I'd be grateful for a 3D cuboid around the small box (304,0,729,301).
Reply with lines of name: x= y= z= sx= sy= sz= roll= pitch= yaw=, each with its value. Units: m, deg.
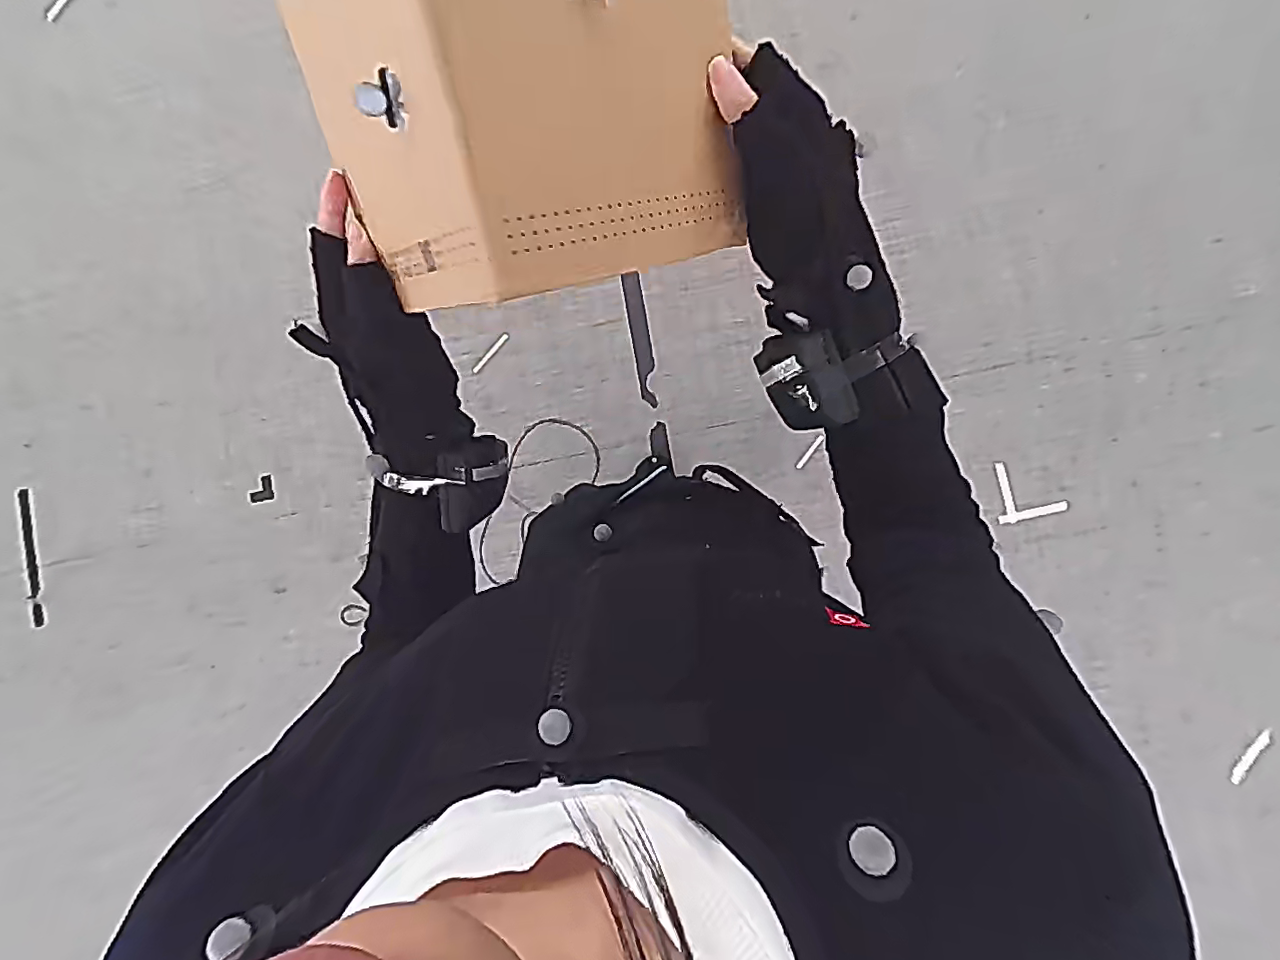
small box: x=-0.064 y=-0.207 z=0.325 sx=0.179 sy=0.168 sz=0.176 roll=-26 pitch=118 yaw=-32
